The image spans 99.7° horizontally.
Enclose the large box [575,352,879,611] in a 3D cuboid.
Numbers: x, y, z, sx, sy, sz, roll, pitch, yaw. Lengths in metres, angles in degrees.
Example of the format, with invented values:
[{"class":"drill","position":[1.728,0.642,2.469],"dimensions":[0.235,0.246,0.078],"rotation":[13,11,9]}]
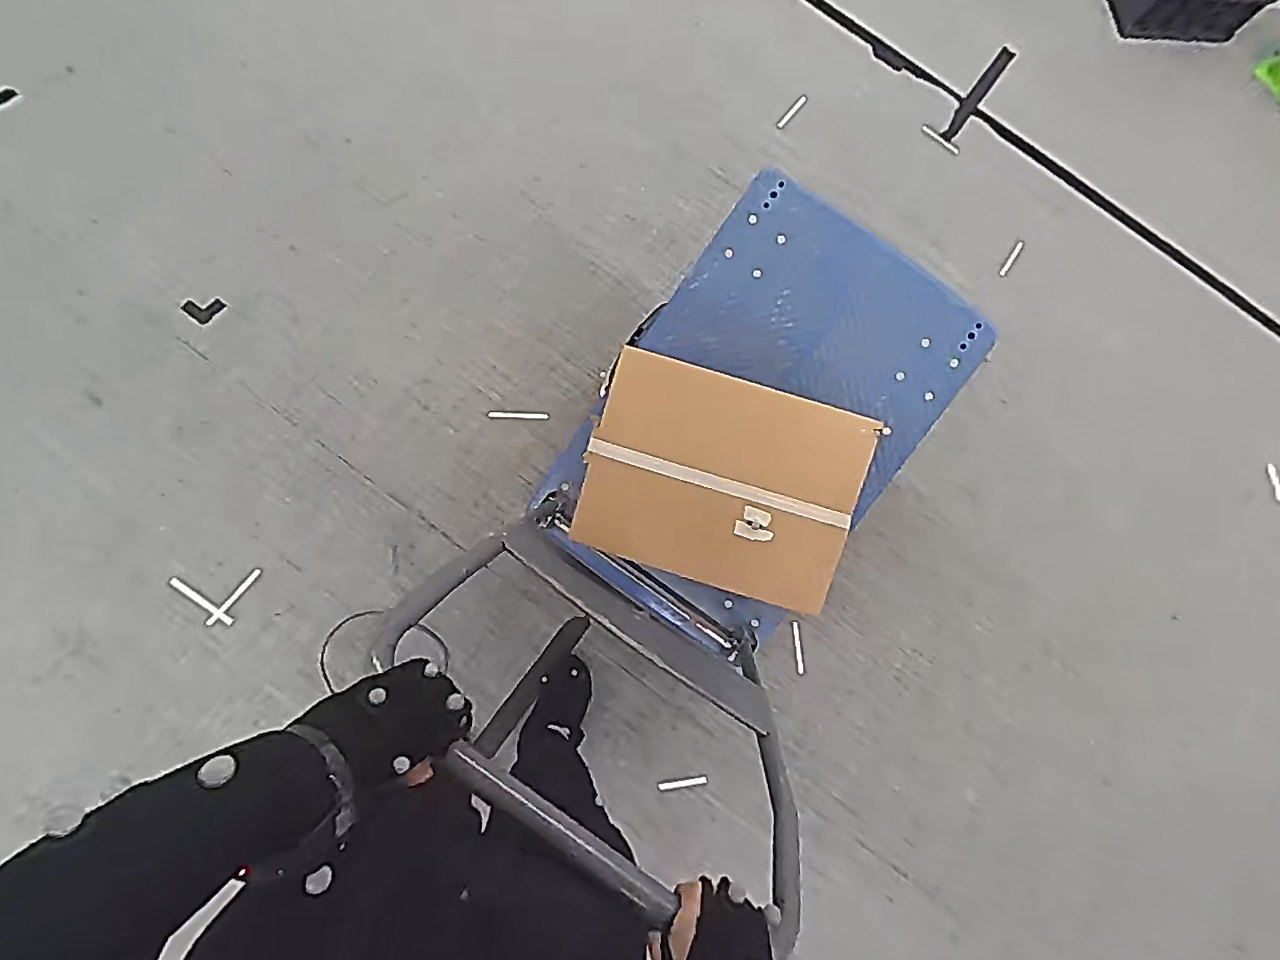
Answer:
[{"class":"large box","position":[0.133,-0.006,0.972],"dimensions":[0.408,0.320,0.320],"rotation":[17,96,1]}]
